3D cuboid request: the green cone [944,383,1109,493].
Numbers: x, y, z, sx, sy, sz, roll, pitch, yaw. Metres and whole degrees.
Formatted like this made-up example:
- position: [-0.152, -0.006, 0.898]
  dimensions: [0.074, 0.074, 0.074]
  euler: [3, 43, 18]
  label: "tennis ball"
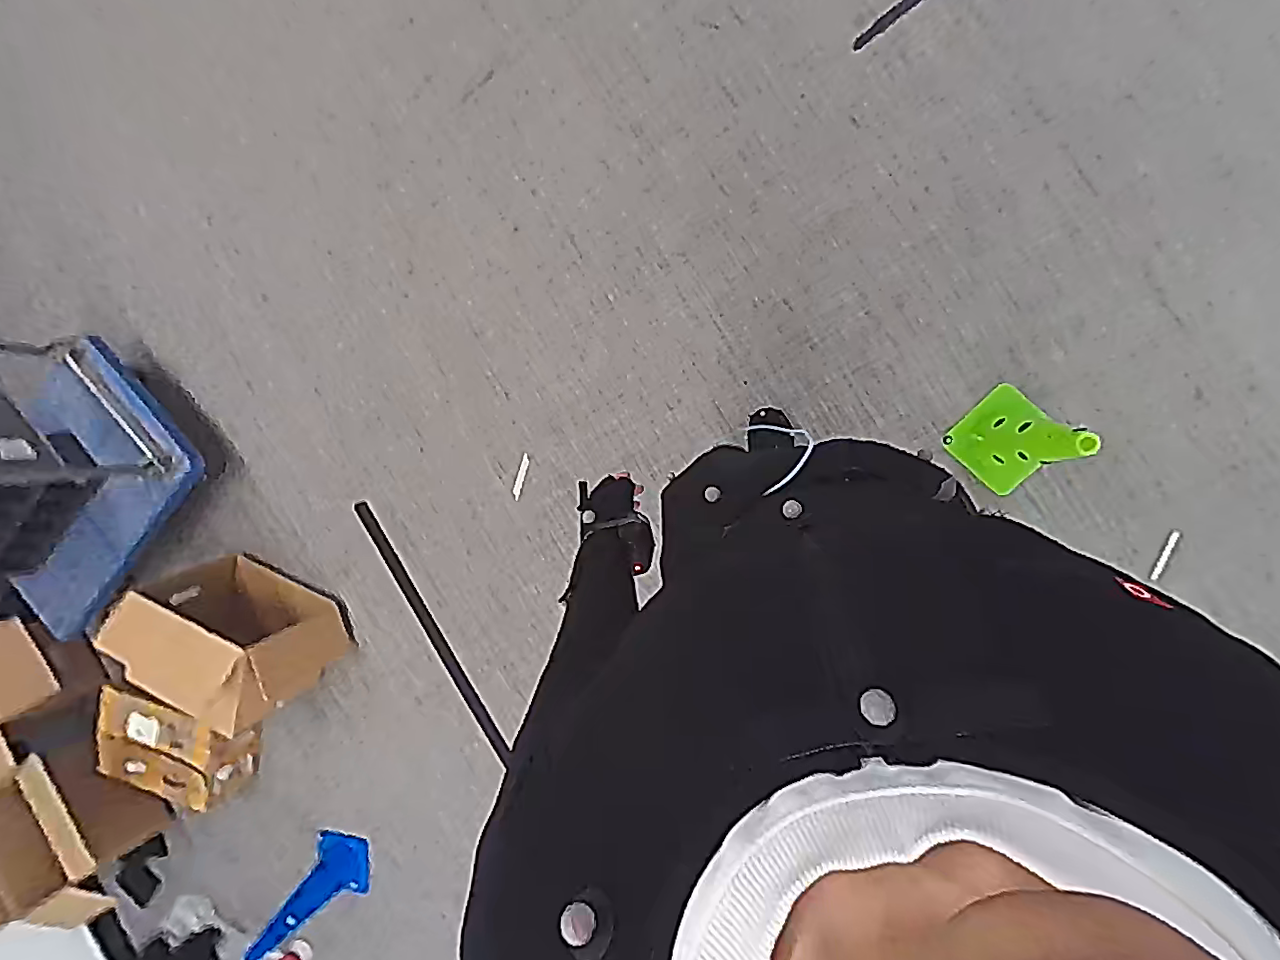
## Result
- position: [0.818, -0.083, 1.100]
  dimensions: [0.200, 0.368, 0.202]
  euler: [43, 102, 5]
  label: "green cone"
